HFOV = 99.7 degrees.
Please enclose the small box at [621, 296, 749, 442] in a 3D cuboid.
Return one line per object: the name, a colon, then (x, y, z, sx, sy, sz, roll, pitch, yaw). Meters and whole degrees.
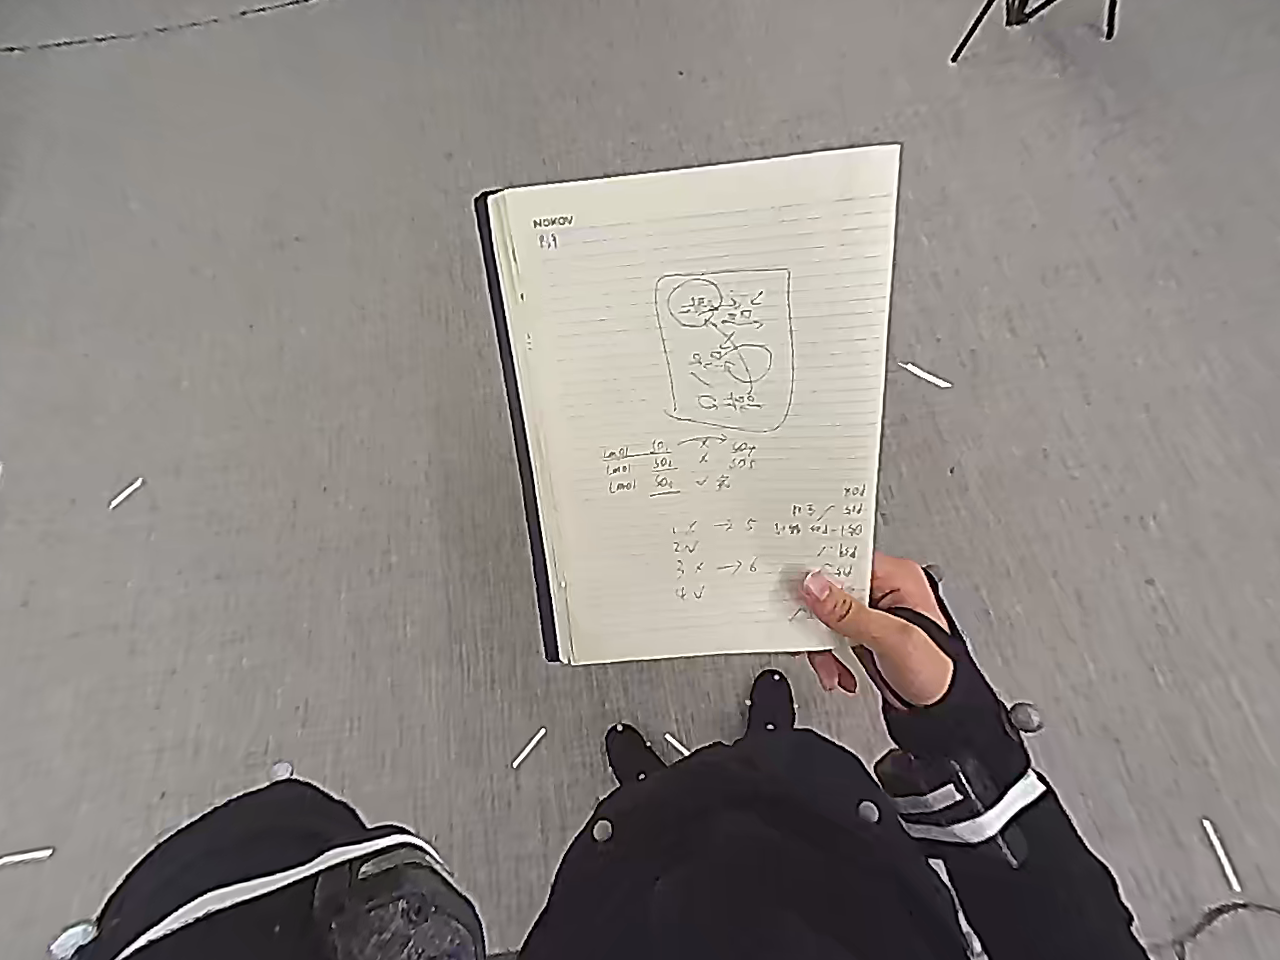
small box: (0.080, -0.196, 0.992, 0.179, 0.176, 0.168, -22, 69, -2)
